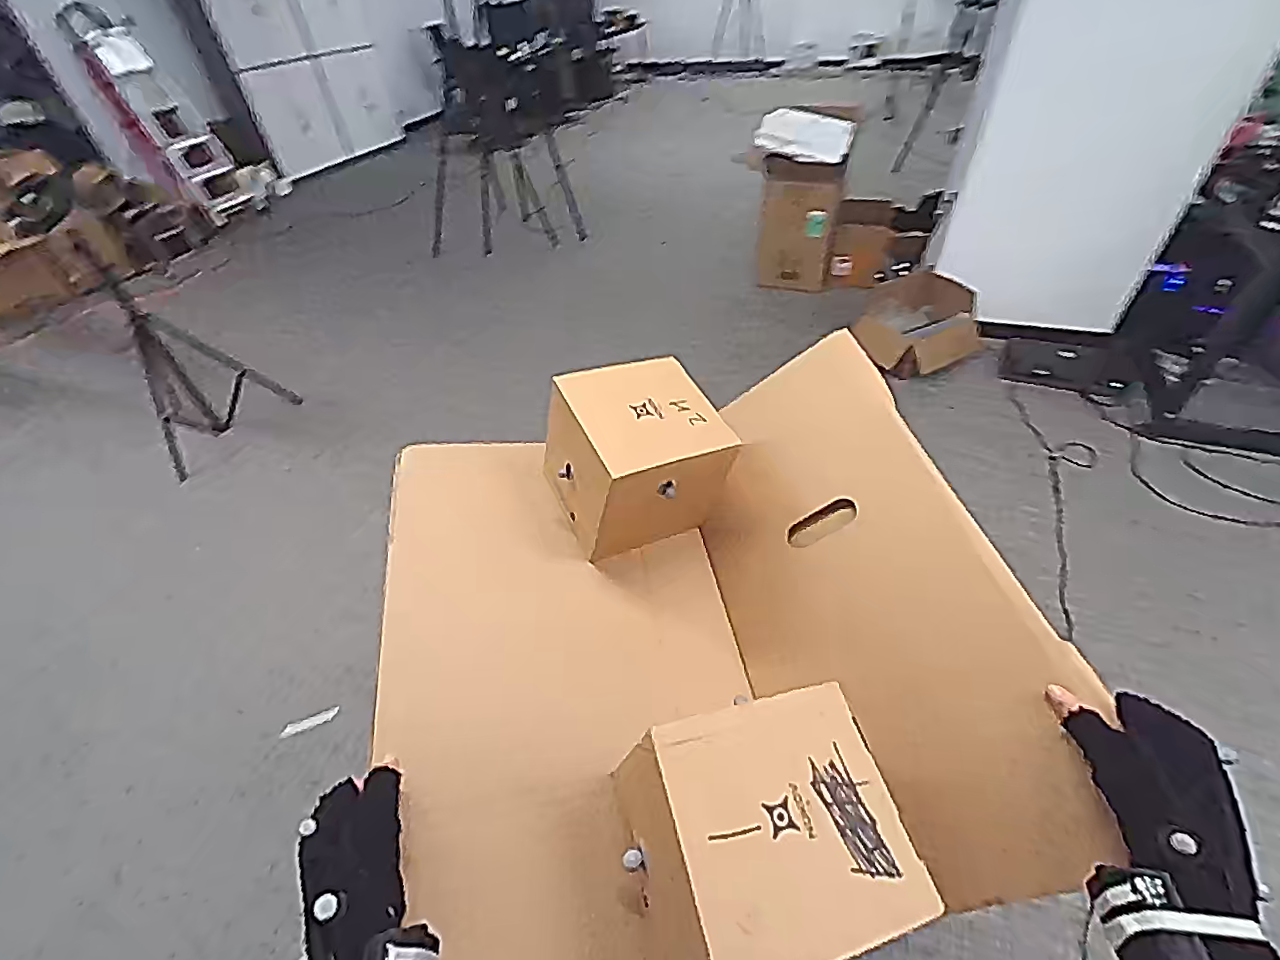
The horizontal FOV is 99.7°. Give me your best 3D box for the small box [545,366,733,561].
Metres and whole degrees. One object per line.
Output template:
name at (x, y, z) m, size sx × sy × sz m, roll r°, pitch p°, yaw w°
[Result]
small box at (-0.015, -0.019, 0.696) m, size 0.179 × 0.176 × 0.168 m, roll -15°, pitch 56°, yaw -27°
